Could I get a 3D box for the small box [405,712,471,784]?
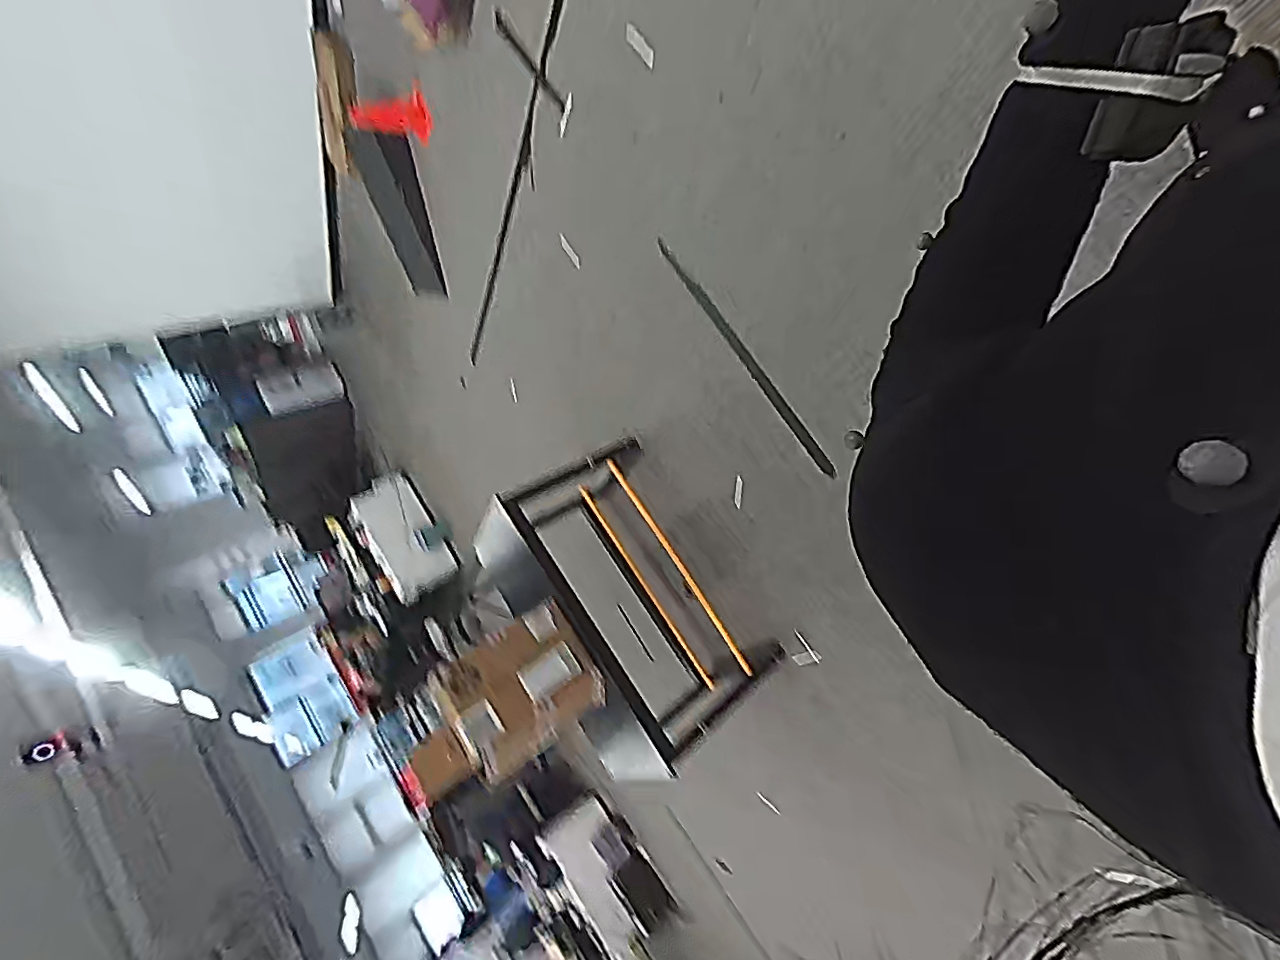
[{"bbox_3d":[-0.729,0.970,1.958,0.168,0.176,0.179,53,146,15],"label":"small box"}]
